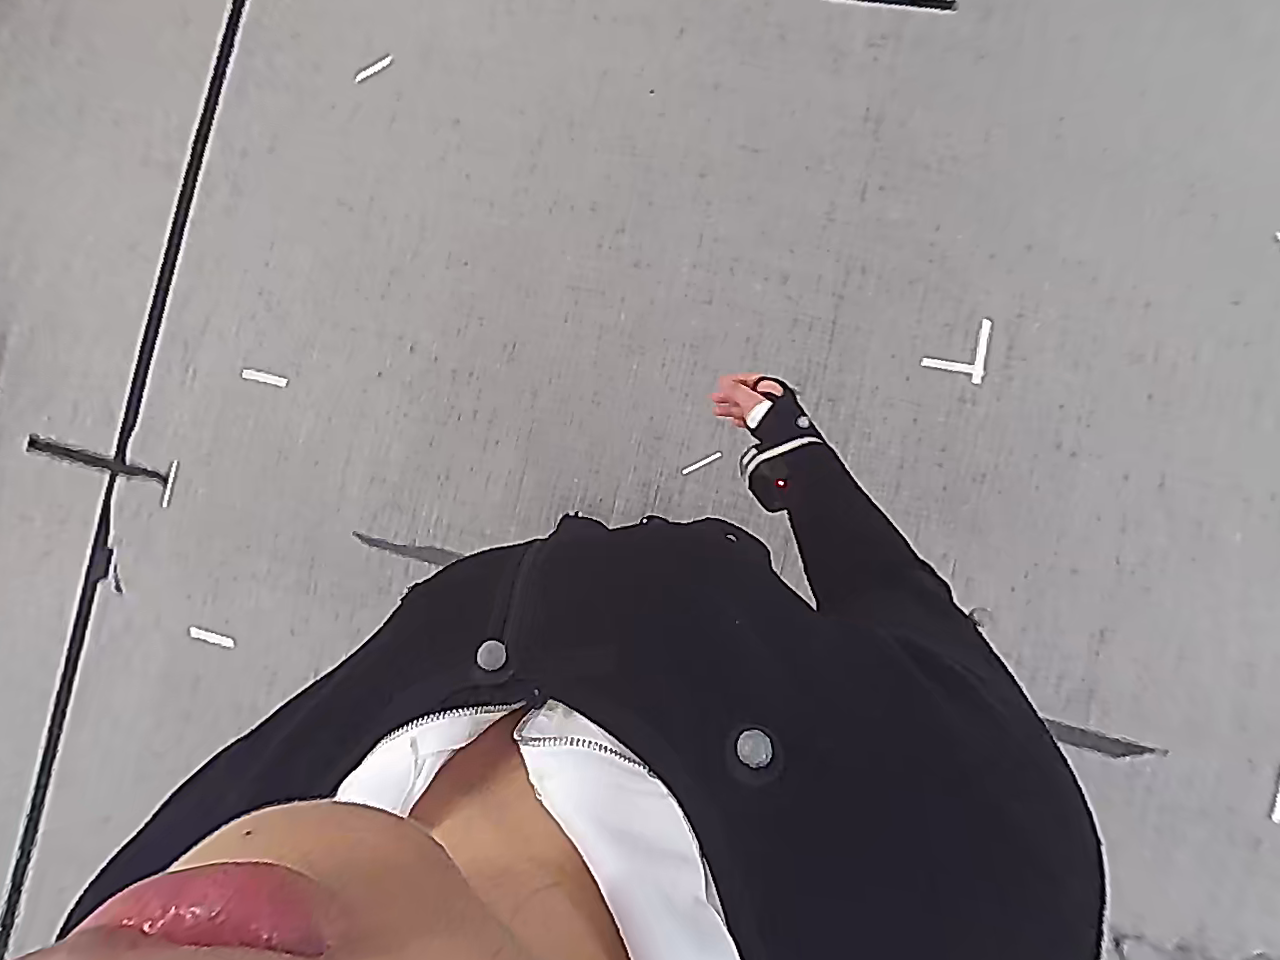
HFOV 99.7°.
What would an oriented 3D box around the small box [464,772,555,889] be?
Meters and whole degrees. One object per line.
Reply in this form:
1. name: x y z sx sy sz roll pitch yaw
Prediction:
1. small box: -0.335 0.910 1.420 0.168 0.176 0.179 12 89 6
